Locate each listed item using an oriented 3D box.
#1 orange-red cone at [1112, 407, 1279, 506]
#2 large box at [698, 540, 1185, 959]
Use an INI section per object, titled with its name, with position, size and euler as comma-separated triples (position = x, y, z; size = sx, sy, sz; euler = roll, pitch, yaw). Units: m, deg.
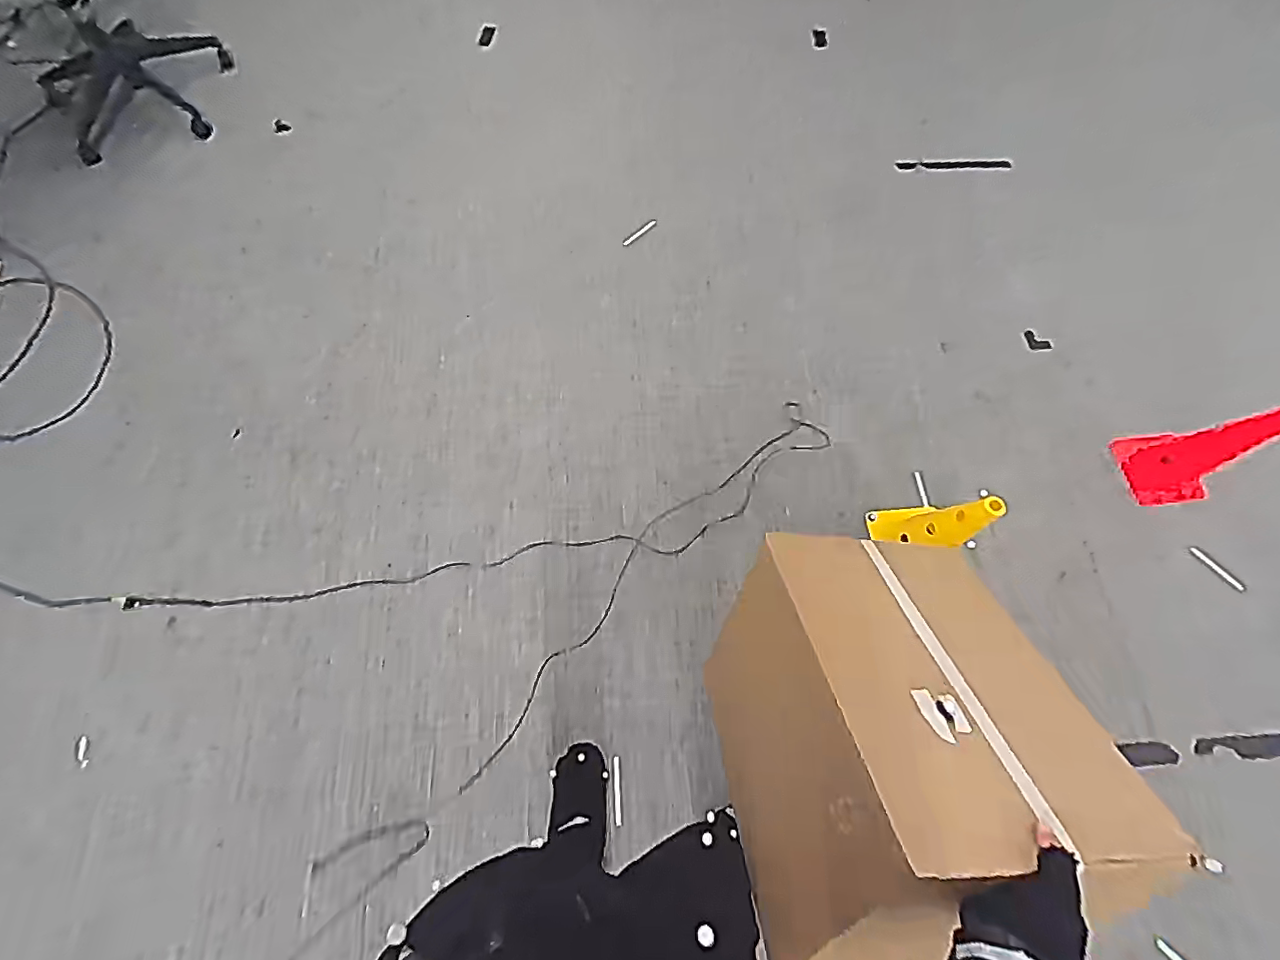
[orange-red cone]
position = 1.423, -0.088, 1.328
size = 0.199, 0.360, 0.198
euler = -6, 69, -1
[large box]
position = 0.300, 0.336, 0.701
size = 0.320, 0.320, 0.408
euler = 7, 37, -13
